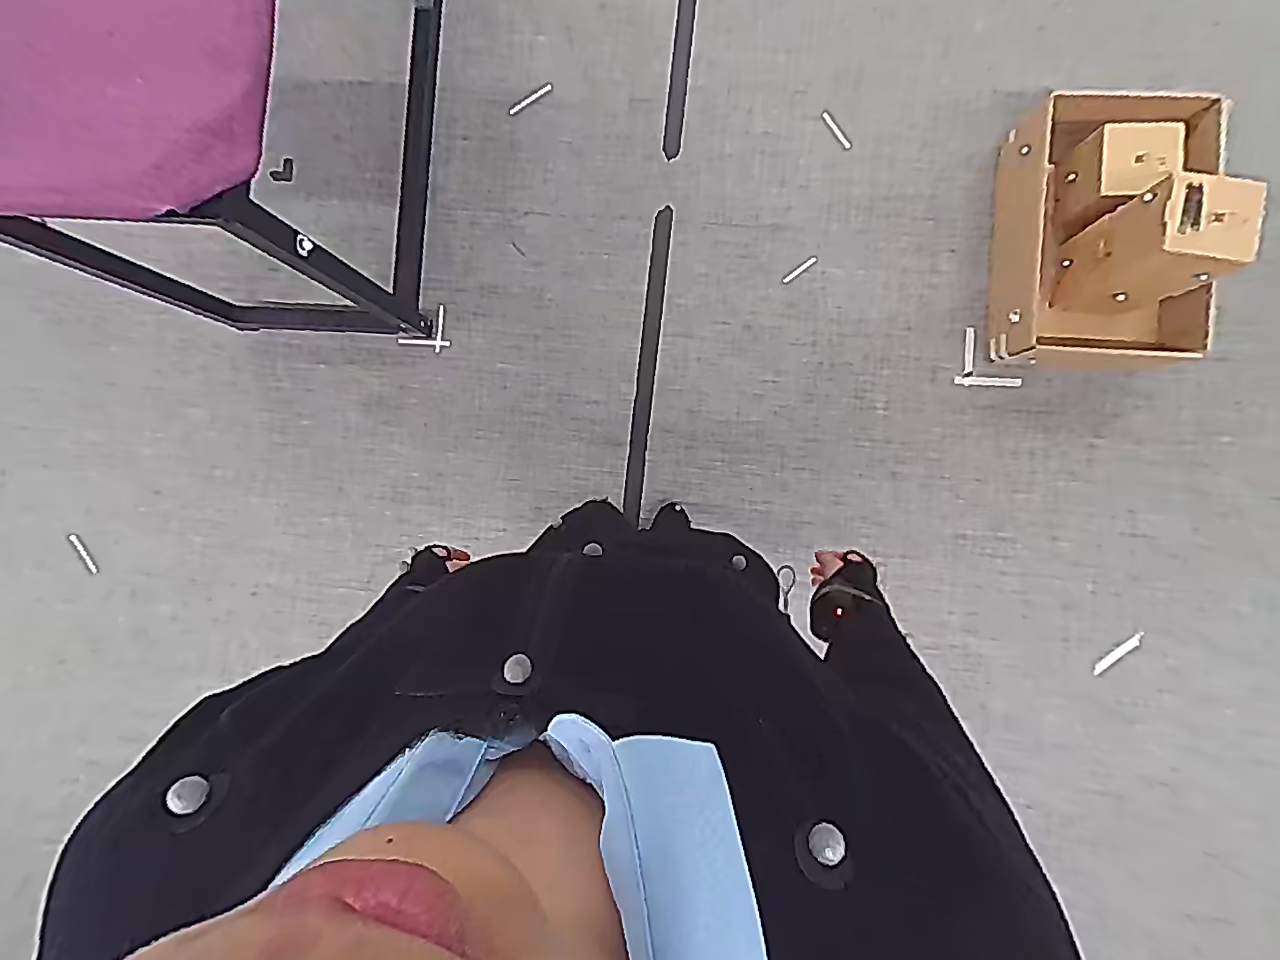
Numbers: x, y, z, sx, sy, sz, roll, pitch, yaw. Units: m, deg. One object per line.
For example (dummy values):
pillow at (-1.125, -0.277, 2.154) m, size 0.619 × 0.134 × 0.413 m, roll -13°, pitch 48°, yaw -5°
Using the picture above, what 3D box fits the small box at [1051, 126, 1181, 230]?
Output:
small box at (1.145, -0.726, 1.315) m, size 0.179 × 0.176 × 0.168 m, roll 3°, pitch 91°, yaw 4°

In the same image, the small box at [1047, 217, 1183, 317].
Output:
small box at (1.149, -0.510, 1.317) m, size 0.179 × 0.176 × 0.168 m, roll 9°, pitch 88°, yaw 5°
